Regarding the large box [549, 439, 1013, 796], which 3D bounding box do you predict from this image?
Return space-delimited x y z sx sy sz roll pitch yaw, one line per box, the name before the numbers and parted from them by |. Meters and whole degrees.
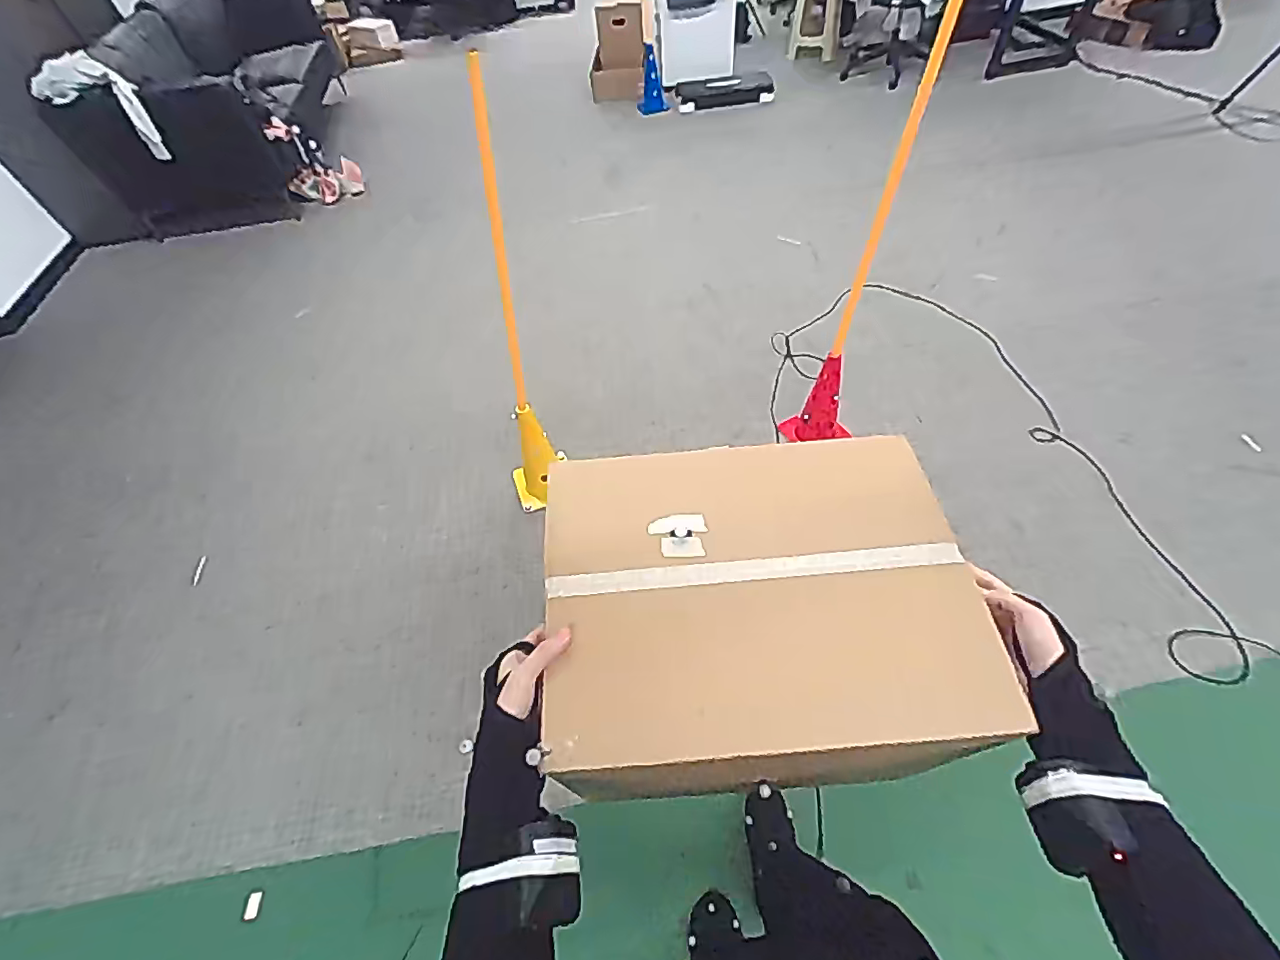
large box | 0.119 0.182 0.661 0.408 0.320 0.320 -6 54 0
